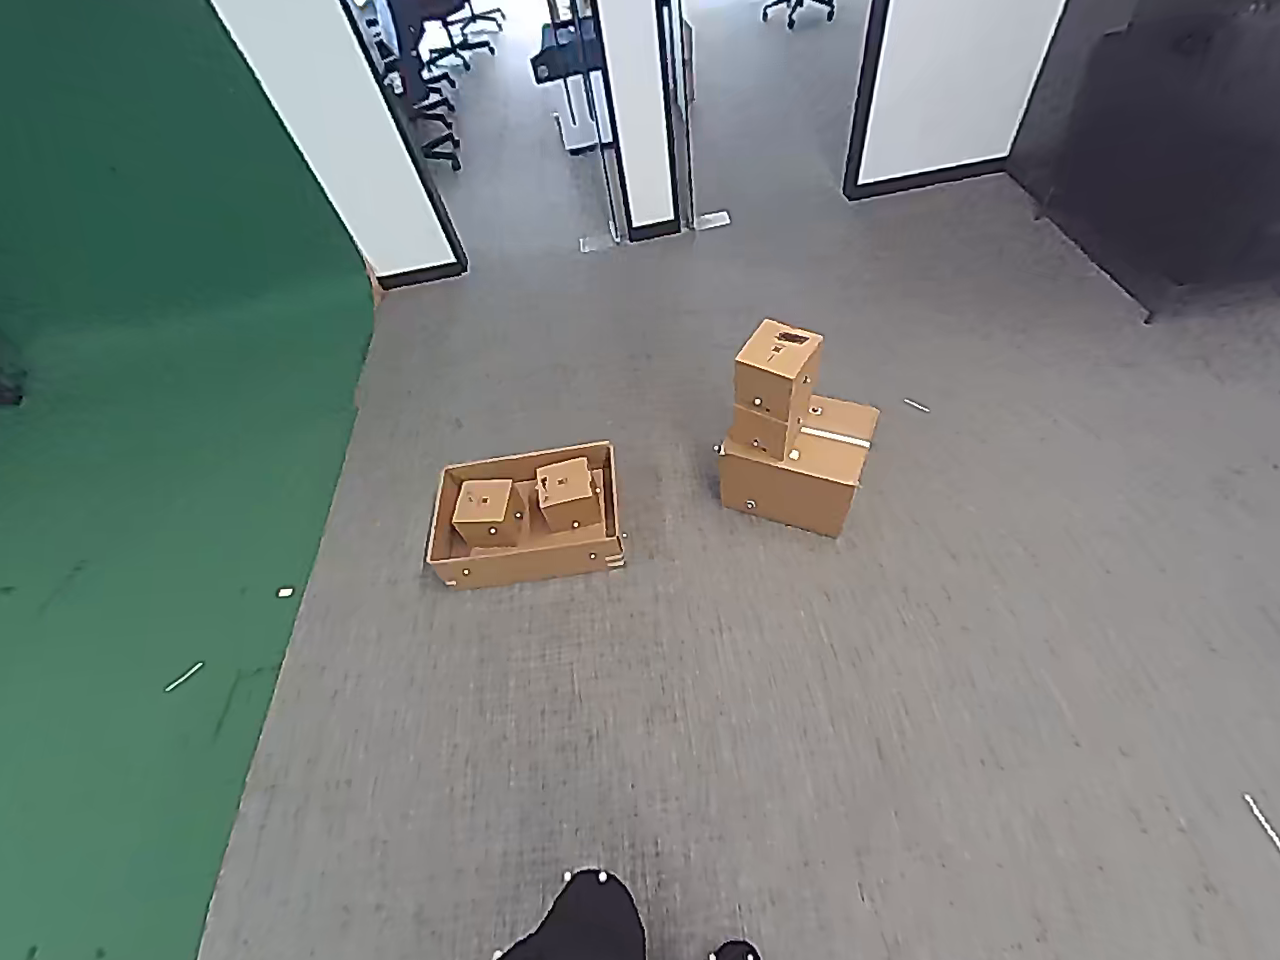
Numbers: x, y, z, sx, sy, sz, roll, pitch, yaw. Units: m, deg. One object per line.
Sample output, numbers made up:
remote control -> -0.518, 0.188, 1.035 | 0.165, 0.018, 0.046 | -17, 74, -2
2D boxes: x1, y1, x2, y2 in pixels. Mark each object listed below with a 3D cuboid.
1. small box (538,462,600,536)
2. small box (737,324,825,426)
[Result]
small box -> -0.235, 0.067, 1.821 | 0.179, 0.176, 0.168 | -12, 53, 1
small box -> 0.369, -0.278, 1.440 | 0.168, 0.176, 0.179 | 26, 64, 26
